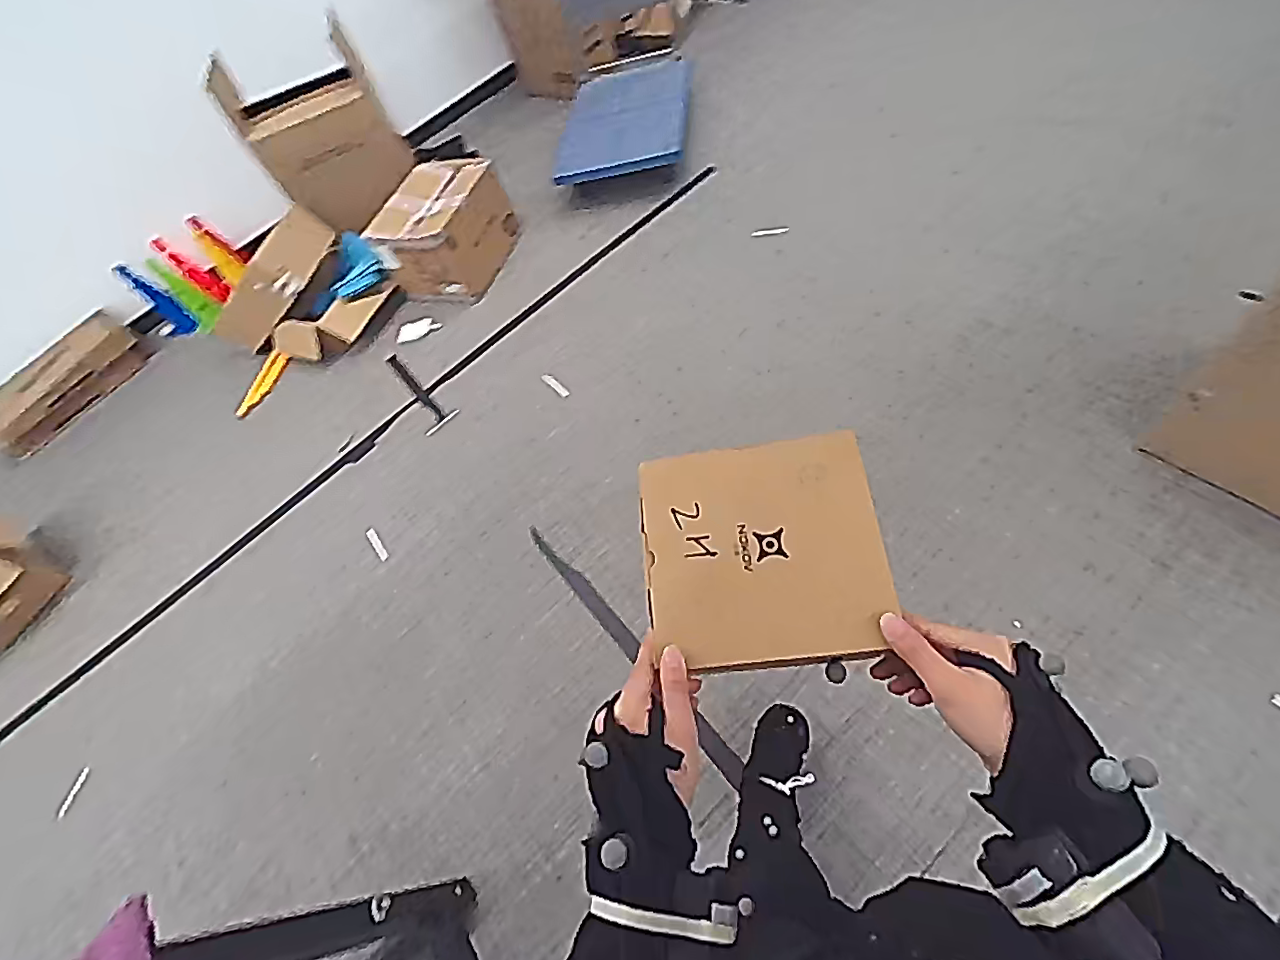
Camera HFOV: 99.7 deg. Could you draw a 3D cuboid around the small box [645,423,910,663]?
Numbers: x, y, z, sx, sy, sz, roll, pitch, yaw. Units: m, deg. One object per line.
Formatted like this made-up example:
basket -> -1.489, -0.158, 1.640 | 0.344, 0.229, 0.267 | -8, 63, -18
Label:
small box -> 0.108, 0.069, 0.478 | 0.179, 0.176, 0.168 | -8, 68, 10
